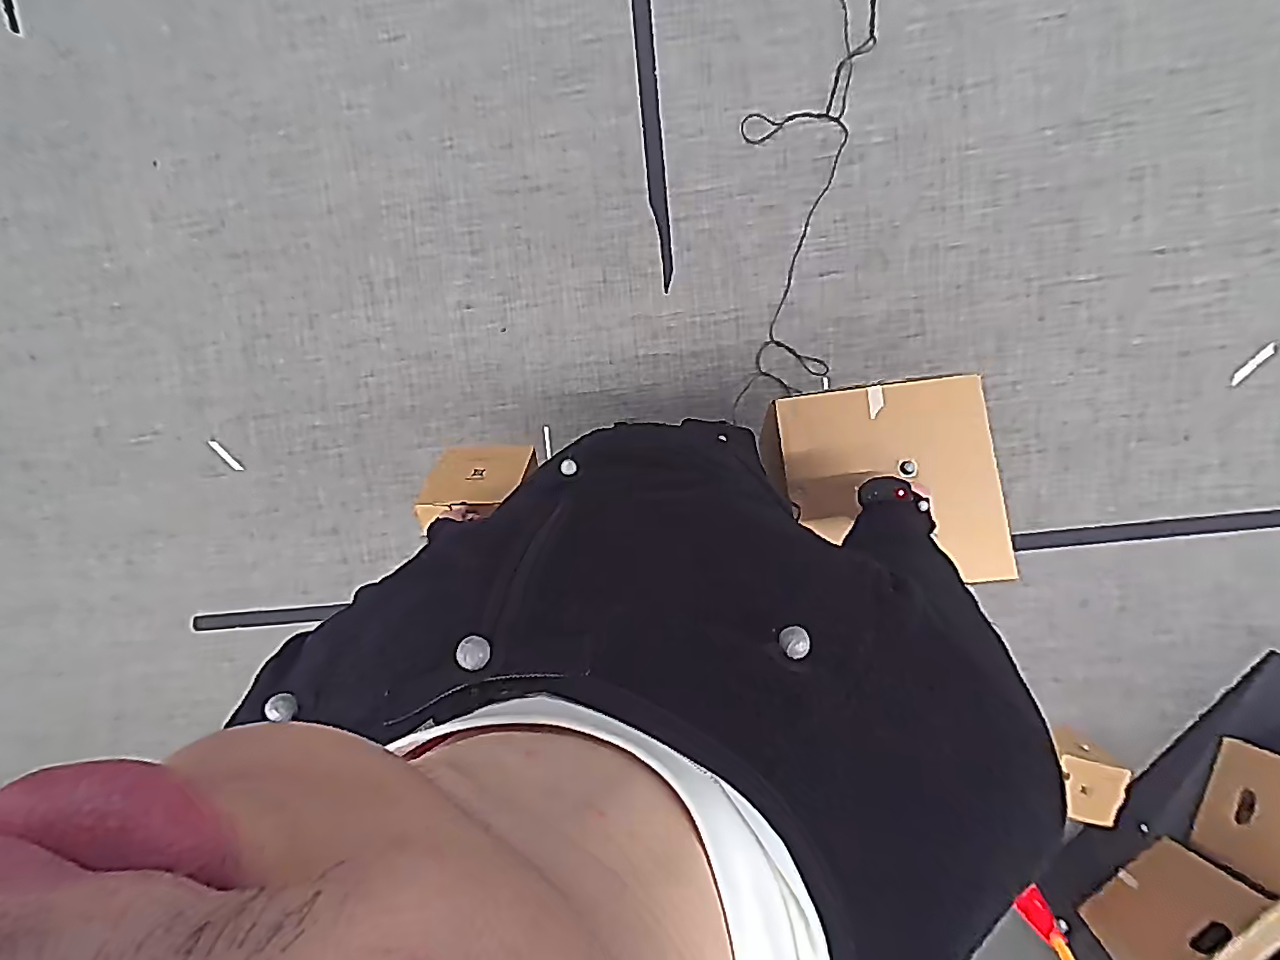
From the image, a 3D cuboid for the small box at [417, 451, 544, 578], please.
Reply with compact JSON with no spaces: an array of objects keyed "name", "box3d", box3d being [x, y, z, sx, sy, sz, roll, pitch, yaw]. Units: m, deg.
[{"name":"small box","box3d":[-0.278,0.063,0.990,0.168,0.179,0.176,0,125,3]}]
